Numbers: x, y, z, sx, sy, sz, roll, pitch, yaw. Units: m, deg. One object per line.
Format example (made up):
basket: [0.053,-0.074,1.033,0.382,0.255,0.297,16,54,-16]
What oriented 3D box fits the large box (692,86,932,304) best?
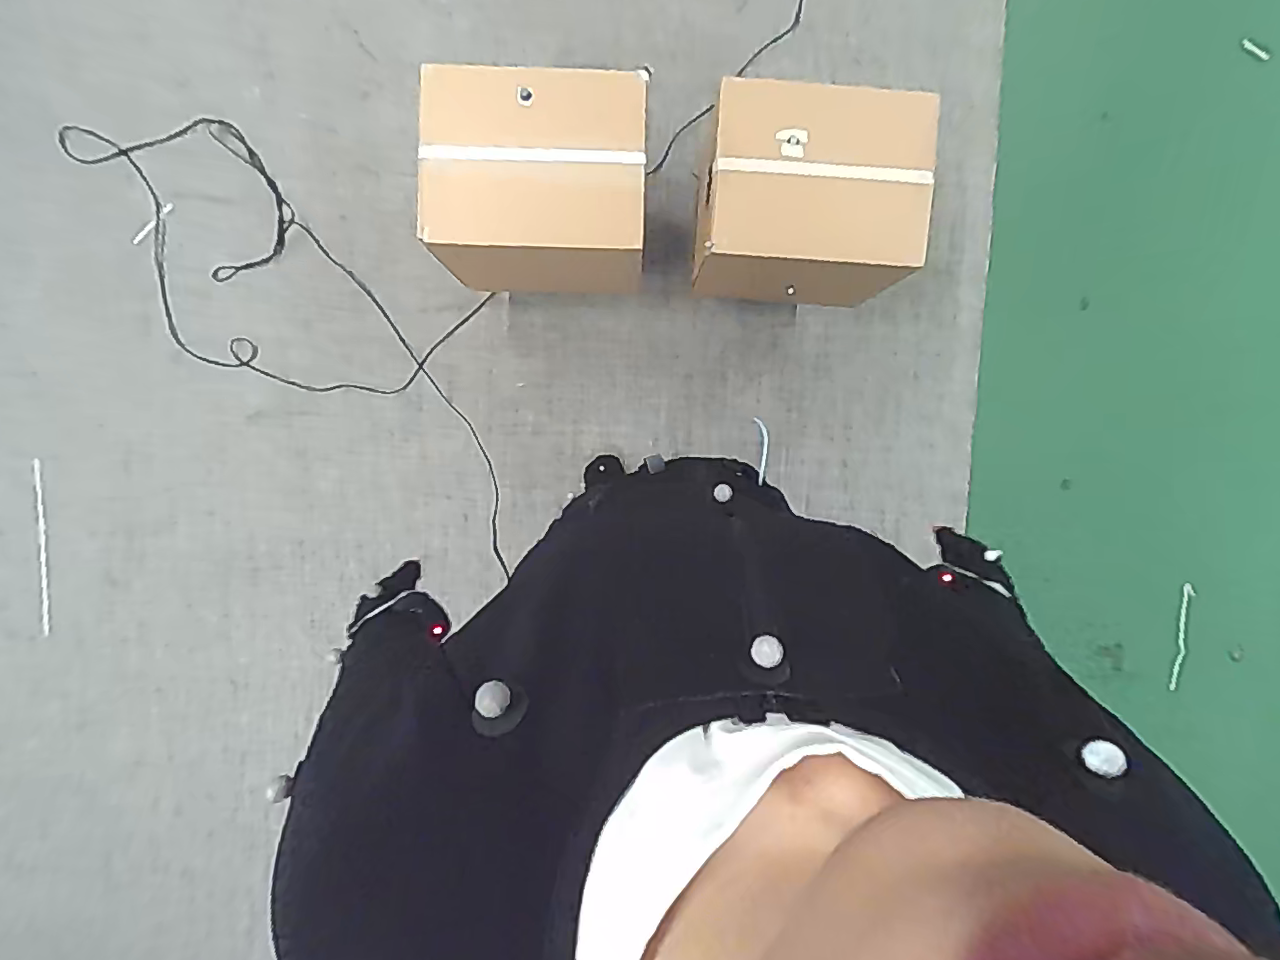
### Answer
large box: [0.335,-0.574,1.154,0.408,0.320,0.320,4,93,-1]
